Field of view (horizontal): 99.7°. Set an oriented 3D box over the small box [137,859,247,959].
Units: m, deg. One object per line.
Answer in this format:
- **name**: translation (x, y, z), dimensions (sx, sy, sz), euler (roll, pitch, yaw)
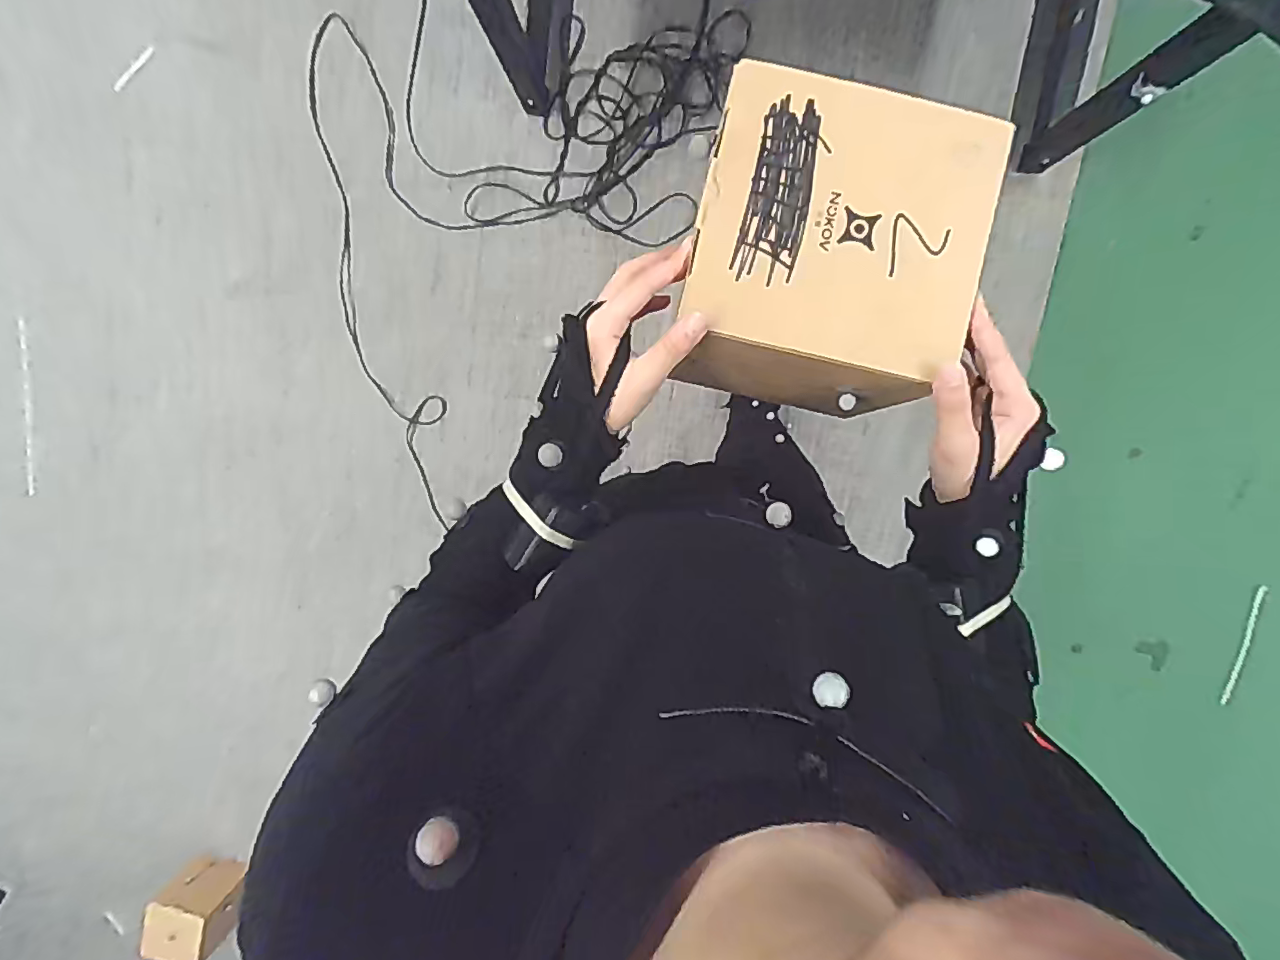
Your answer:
- **small box**: translation (-1.253, 1.220, 1.522), dimensions (0.168, 0.176, 0.179), euler (14, 99, 3)
